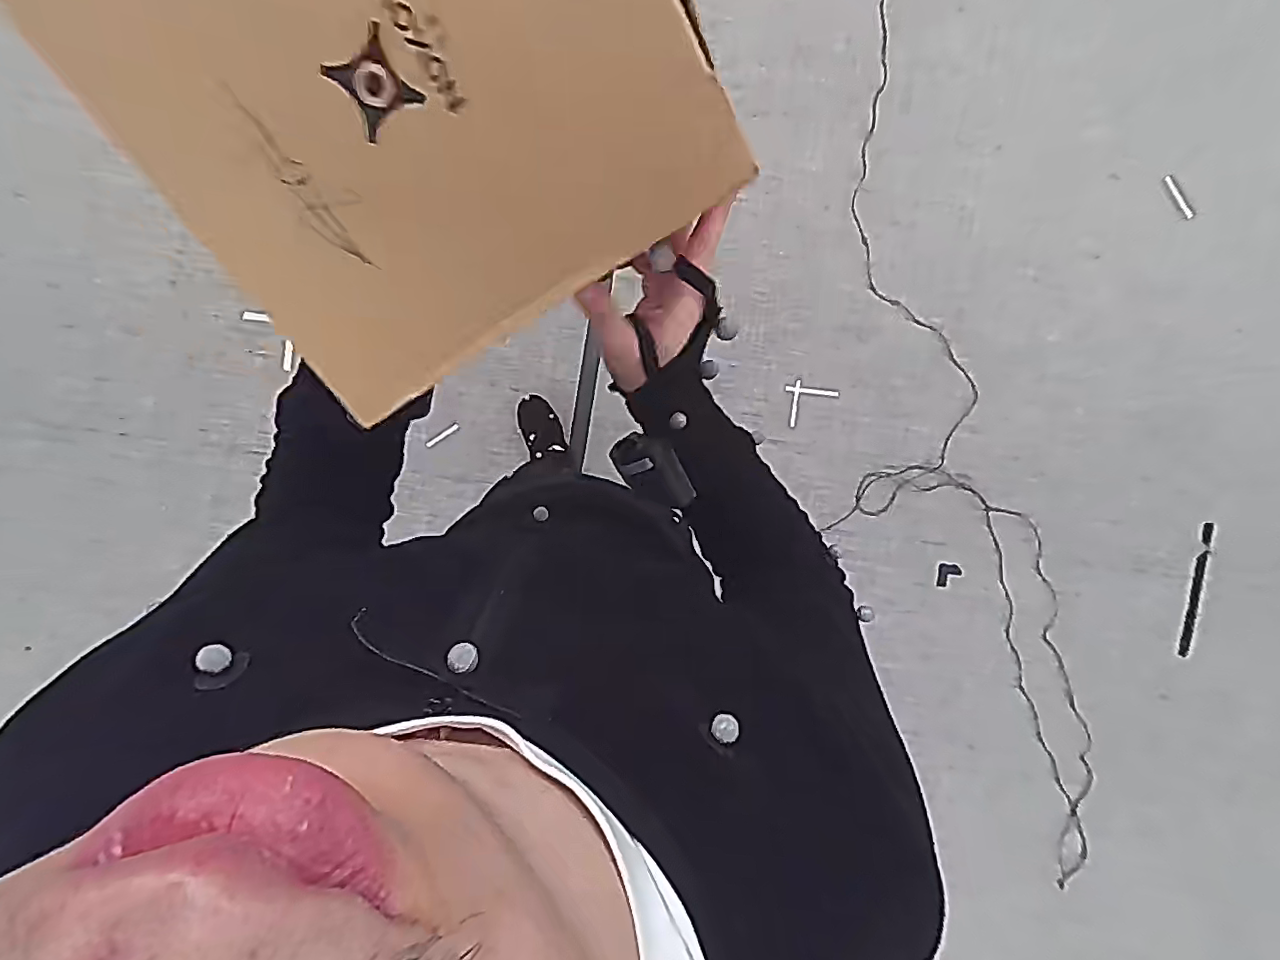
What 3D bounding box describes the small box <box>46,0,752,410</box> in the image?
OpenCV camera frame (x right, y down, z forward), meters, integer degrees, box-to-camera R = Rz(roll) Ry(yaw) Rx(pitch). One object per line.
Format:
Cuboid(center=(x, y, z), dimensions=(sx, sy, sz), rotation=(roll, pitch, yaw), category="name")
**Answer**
Cuboid(center=(-0.072, -0.165, 0.250), dimensions=(0.179, 0.176, 0.168), rotation=(-28, 112, 15), category="small box")
